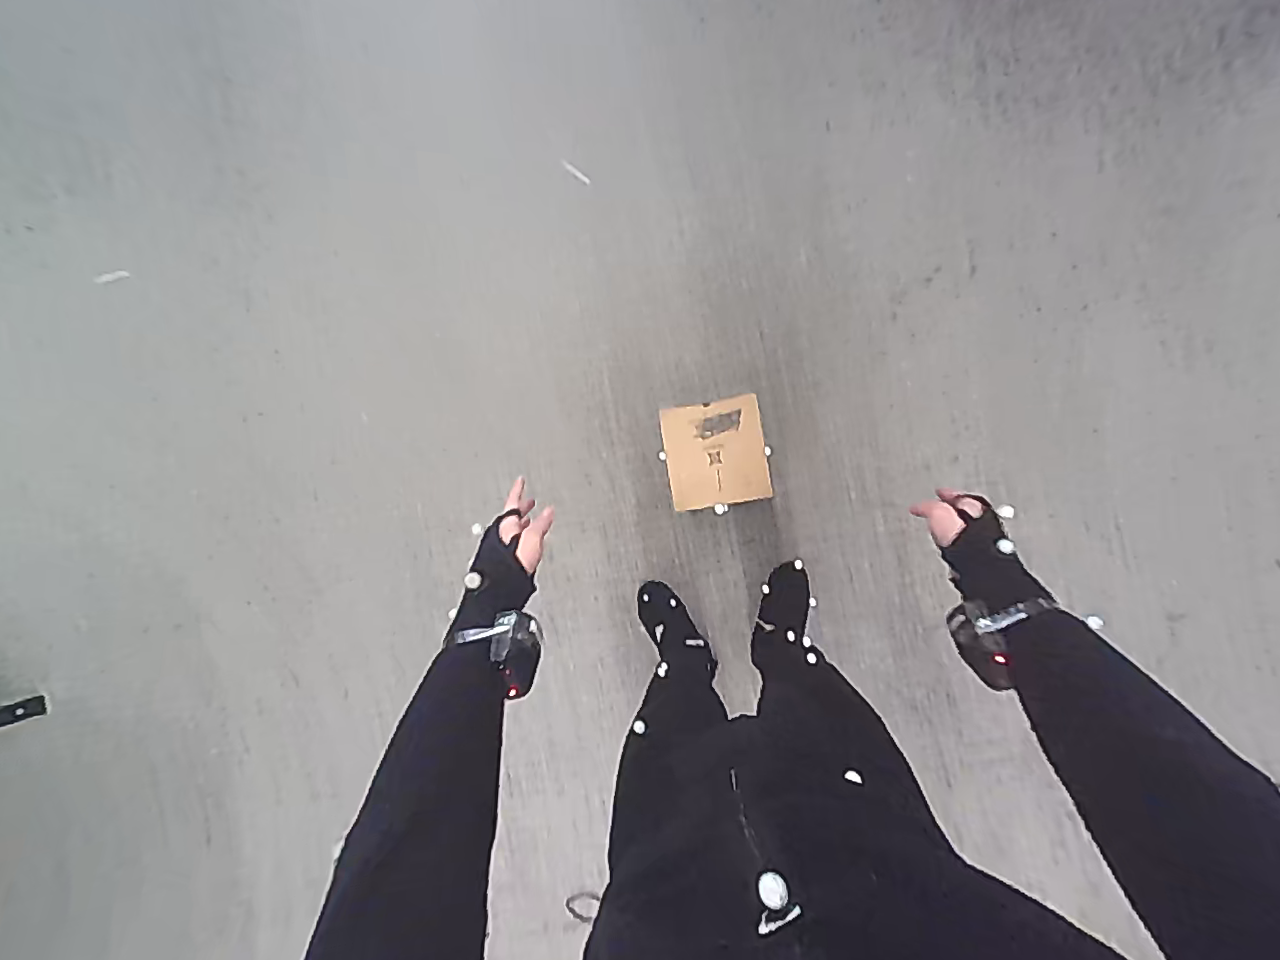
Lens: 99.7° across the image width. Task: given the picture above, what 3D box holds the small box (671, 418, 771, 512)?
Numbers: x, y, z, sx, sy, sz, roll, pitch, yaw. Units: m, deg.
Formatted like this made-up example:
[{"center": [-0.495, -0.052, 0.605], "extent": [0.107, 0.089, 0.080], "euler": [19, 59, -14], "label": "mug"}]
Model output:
[{"center": [0.167, -0.024, 1.141], "extent": [0.179, 0.176, 0.168], "euler": [-10, 87, 5], "label": "small box"}]
